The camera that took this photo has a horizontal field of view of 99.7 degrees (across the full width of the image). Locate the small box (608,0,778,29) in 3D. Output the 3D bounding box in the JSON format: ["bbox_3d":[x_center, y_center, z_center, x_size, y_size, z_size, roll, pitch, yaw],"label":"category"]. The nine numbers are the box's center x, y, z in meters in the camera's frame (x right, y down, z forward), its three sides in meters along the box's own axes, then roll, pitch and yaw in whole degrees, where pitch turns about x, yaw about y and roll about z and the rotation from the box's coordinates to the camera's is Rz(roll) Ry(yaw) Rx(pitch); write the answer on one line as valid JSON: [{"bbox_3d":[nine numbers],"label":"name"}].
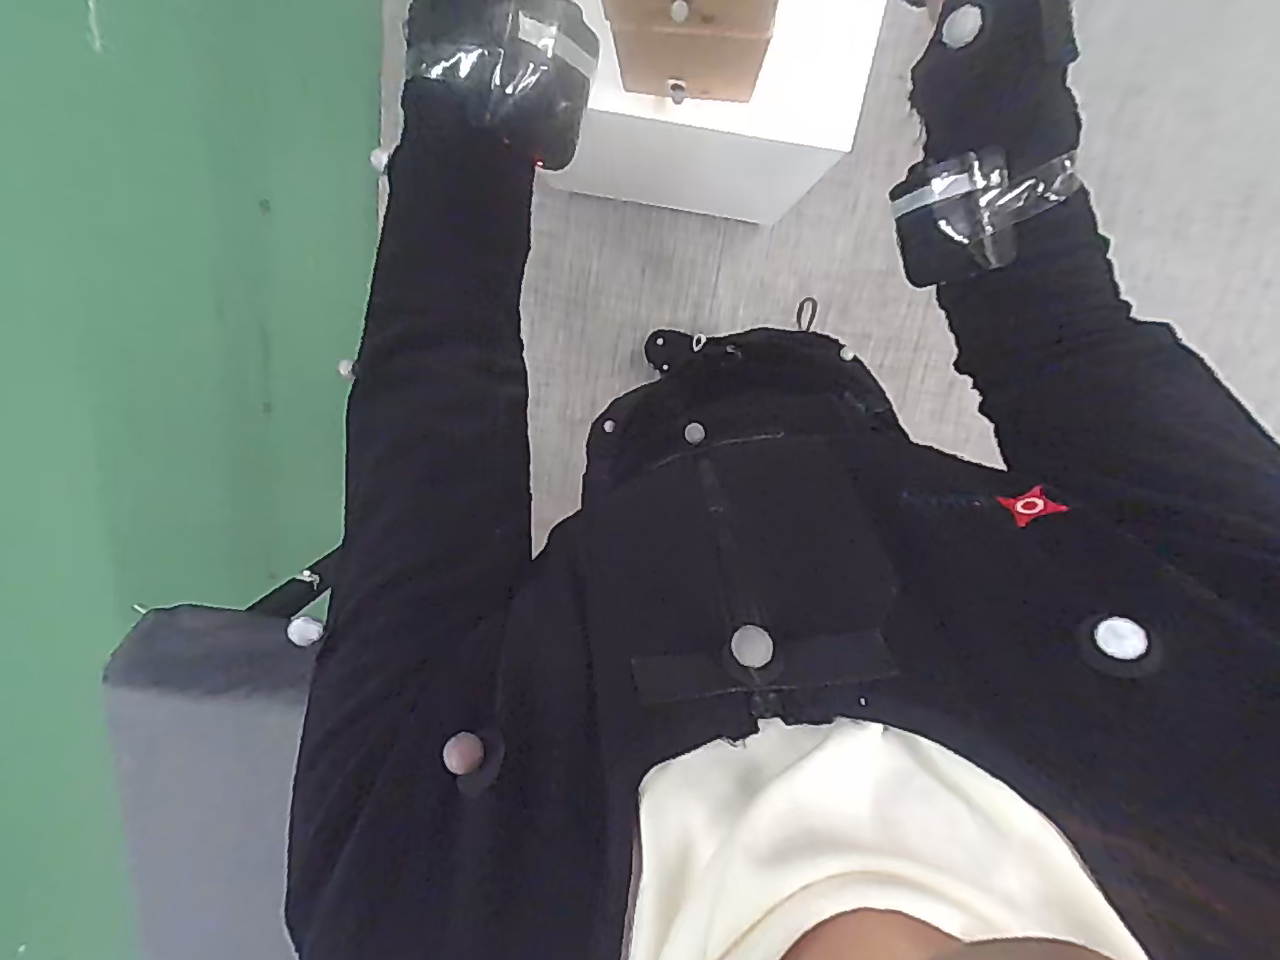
[{"bbox_3d":[0.047,-0.508,0.427,0.168,0.176,0.179,4,105,3],"label":"small box"}]

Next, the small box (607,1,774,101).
[{"bbox_3d":[0.061,-0.548,0.586,0.168,0.176,0.179,6,108,4],"label":"small box"}]
